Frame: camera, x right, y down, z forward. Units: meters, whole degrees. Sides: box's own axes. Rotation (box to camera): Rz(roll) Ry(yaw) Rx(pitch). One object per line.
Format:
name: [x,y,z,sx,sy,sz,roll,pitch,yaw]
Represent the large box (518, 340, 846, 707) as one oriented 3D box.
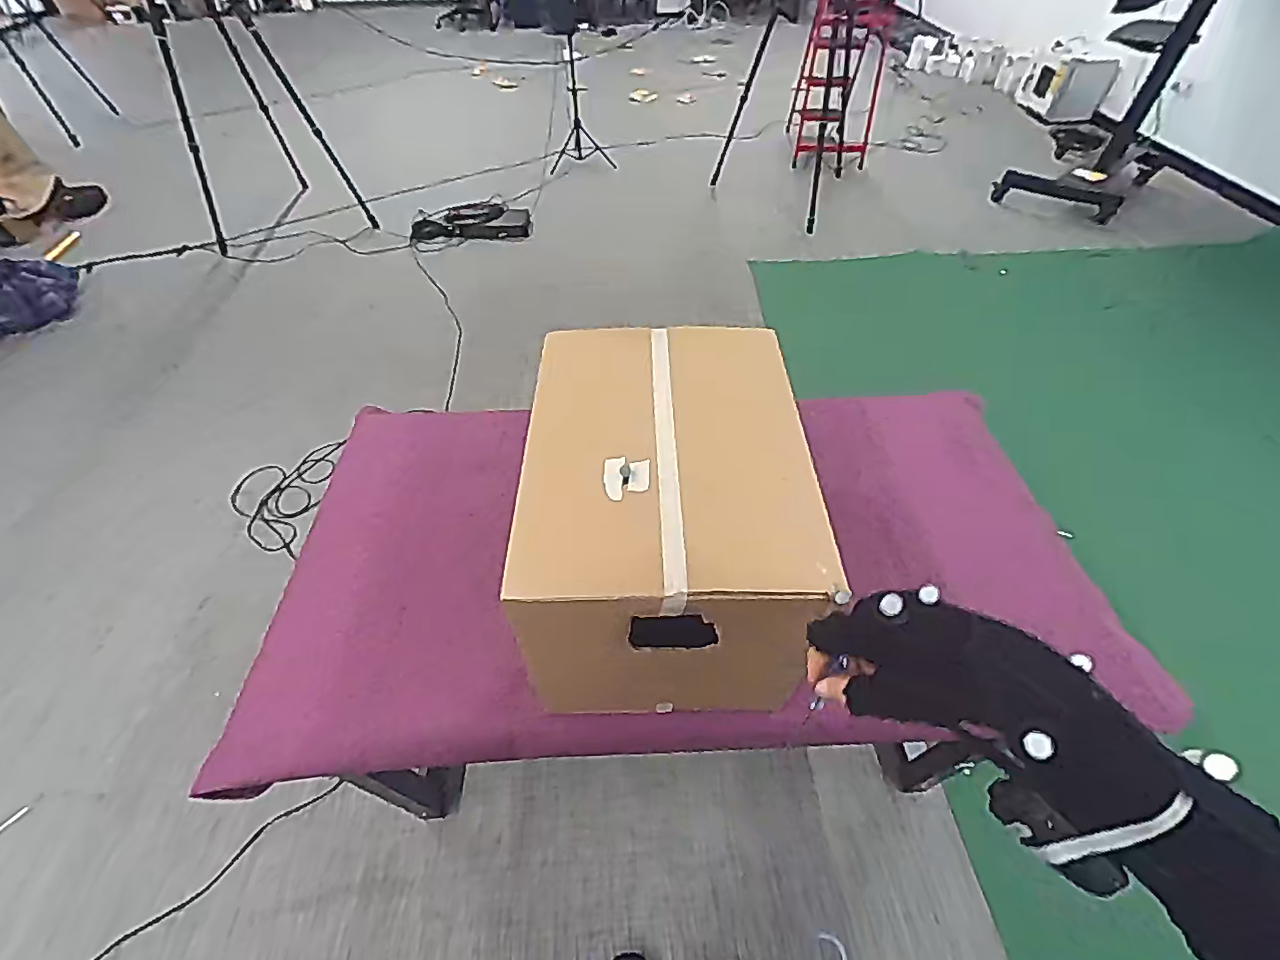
large box: [0.033,0.057,0.737,0.320,0.320,0.408,-1,50,0]
